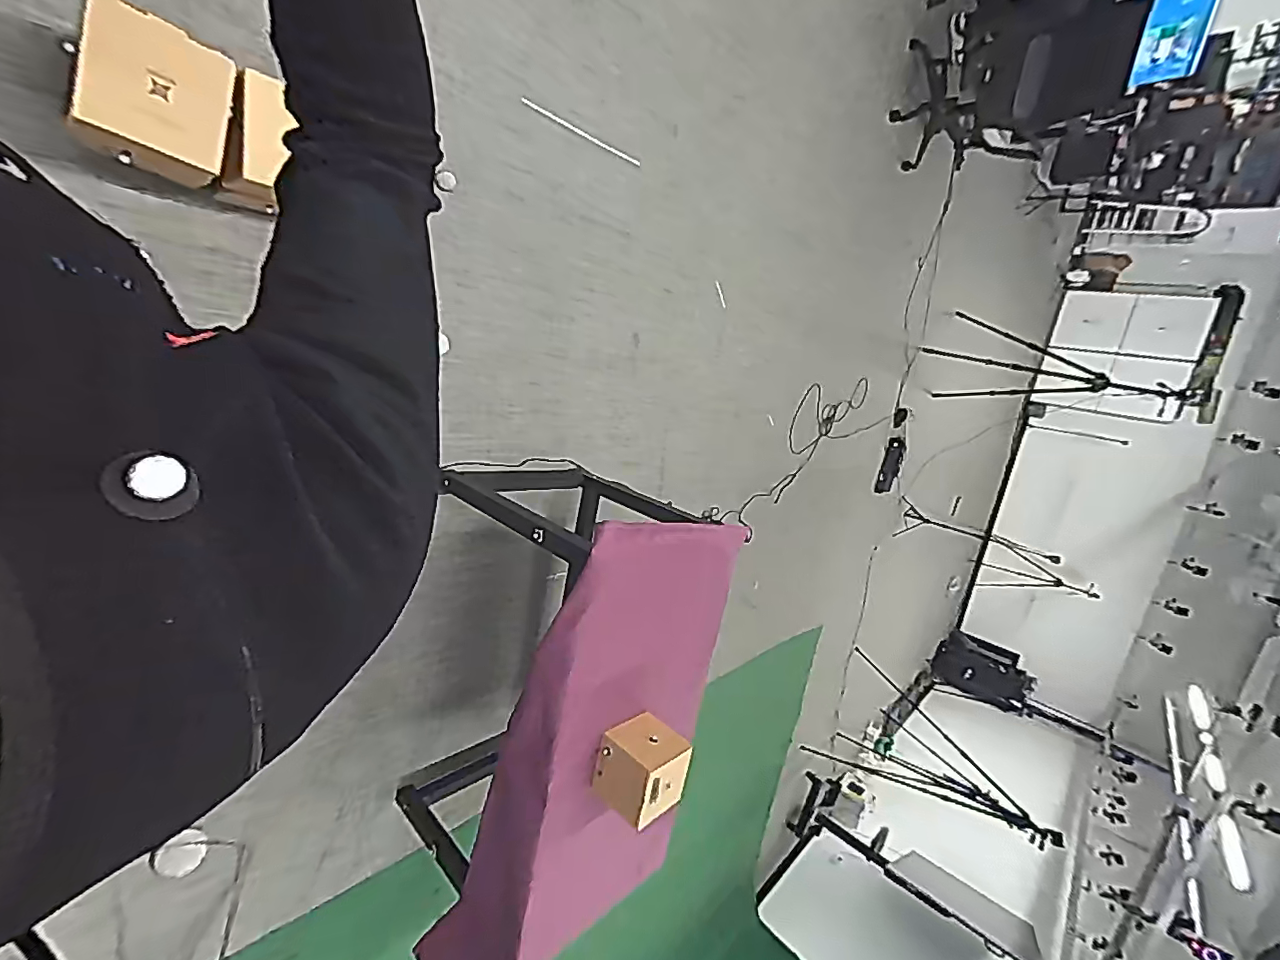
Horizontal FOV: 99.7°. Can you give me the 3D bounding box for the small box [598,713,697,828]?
[{"bbox_3d":[0.014,0.732,1.385,0.179,0.176,0.168,0,106,-49],"label":"small box"}]
